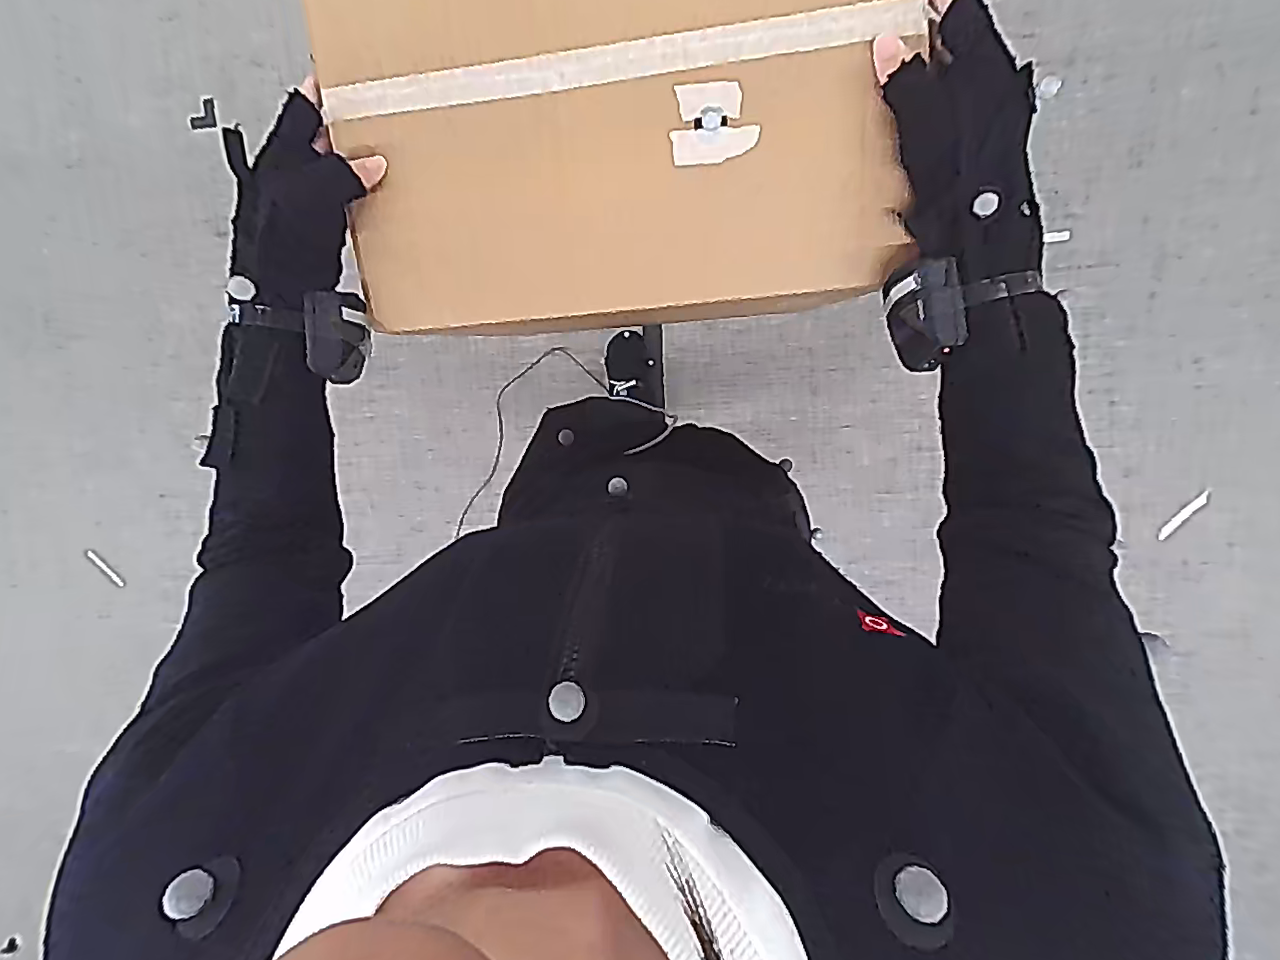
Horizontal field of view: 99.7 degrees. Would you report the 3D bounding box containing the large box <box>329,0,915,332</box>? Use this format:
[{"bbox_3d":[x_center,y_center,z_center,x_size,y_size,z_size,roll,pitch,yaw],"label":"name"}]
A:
[{"bbox_3d":[-0.005,-0.324,0.517,0.408,0.320,0.320,-4,104,6],"label":"large box"}]
